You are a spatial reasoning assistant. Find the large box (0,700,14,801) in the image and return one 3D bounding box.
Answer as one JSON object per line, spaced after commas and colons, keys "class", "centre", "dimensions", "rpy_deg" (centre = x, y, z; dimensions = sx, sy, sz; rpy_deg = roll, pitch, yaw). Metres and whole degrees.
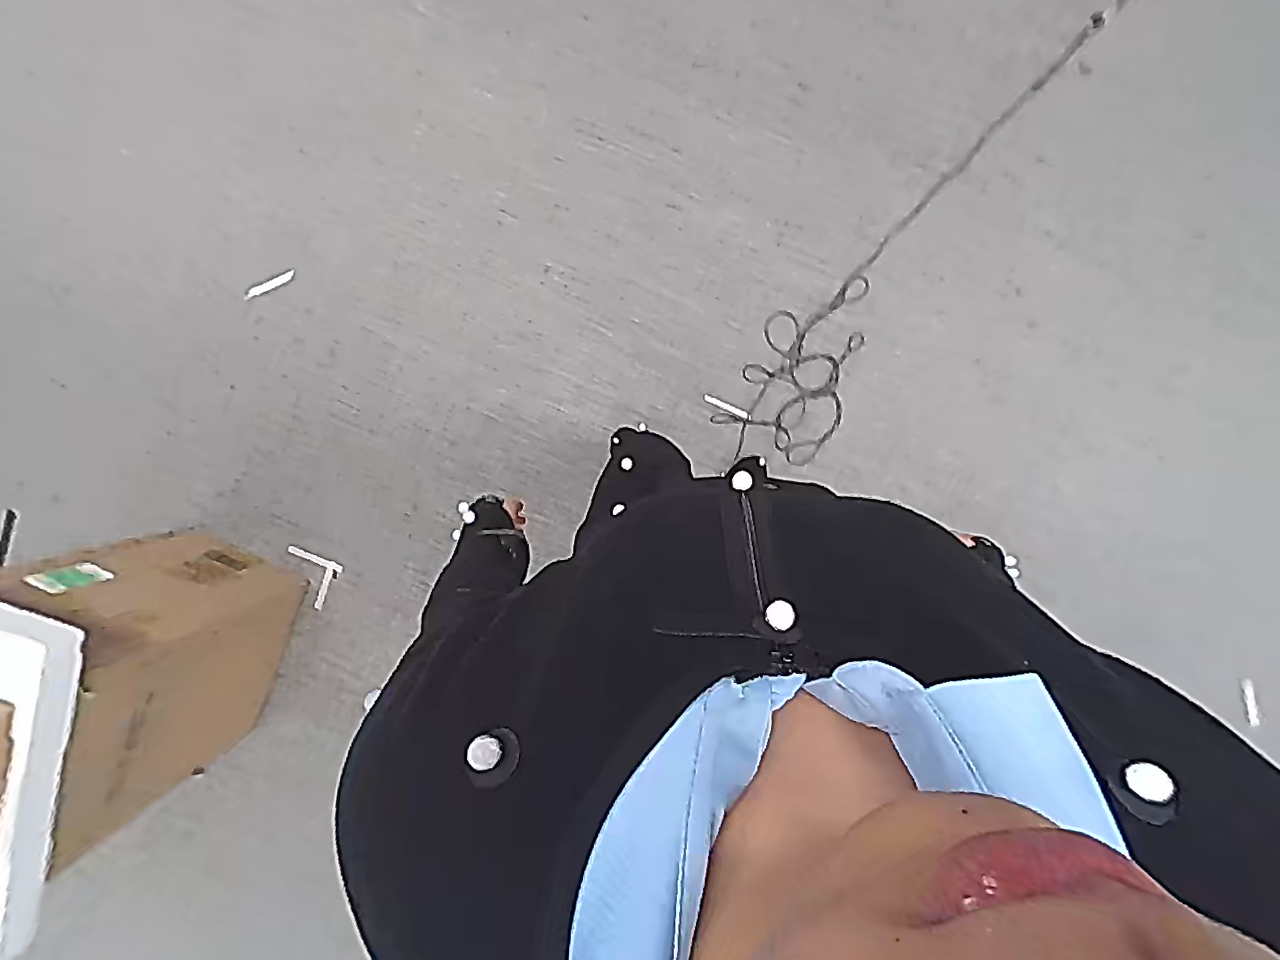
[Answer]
{"class": "large box", "centre": [-1.314, 0.554, 0.840], "dimensions": [0.320, 0.320, 0.408], "rpy_deg": [20, 99, 2]}
